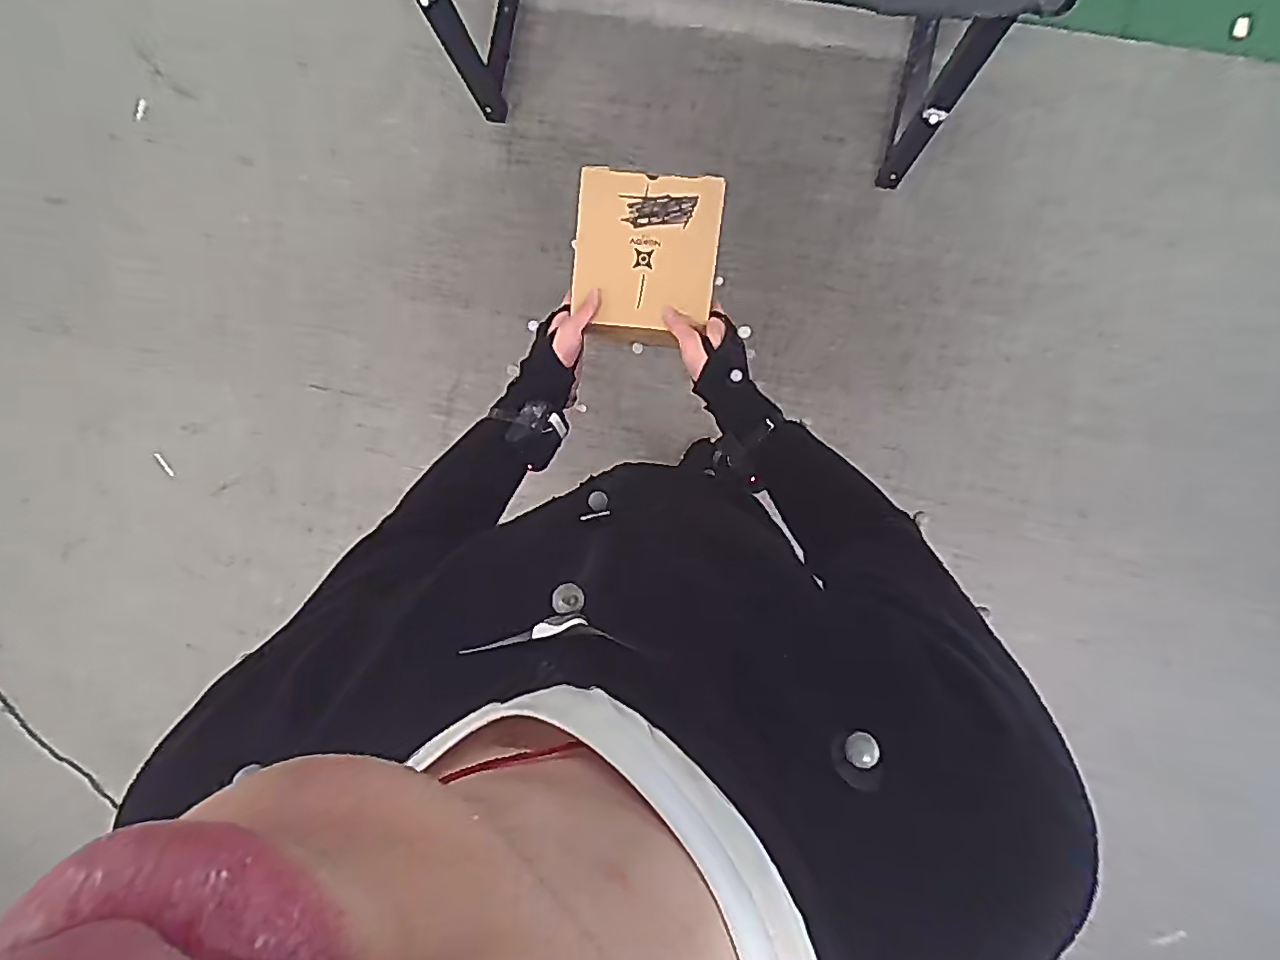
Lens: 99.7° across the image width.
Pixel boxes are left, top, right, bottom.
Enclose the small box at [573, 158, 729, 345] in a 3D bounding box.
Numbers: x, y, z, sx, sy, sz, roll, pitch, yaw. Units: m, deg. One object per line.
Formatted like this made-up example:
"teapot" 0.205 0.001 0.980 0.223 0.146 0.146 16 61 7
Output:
"small box" 0.015 -0.281 0.699 0.168 0.176 0.179 6 98 3
